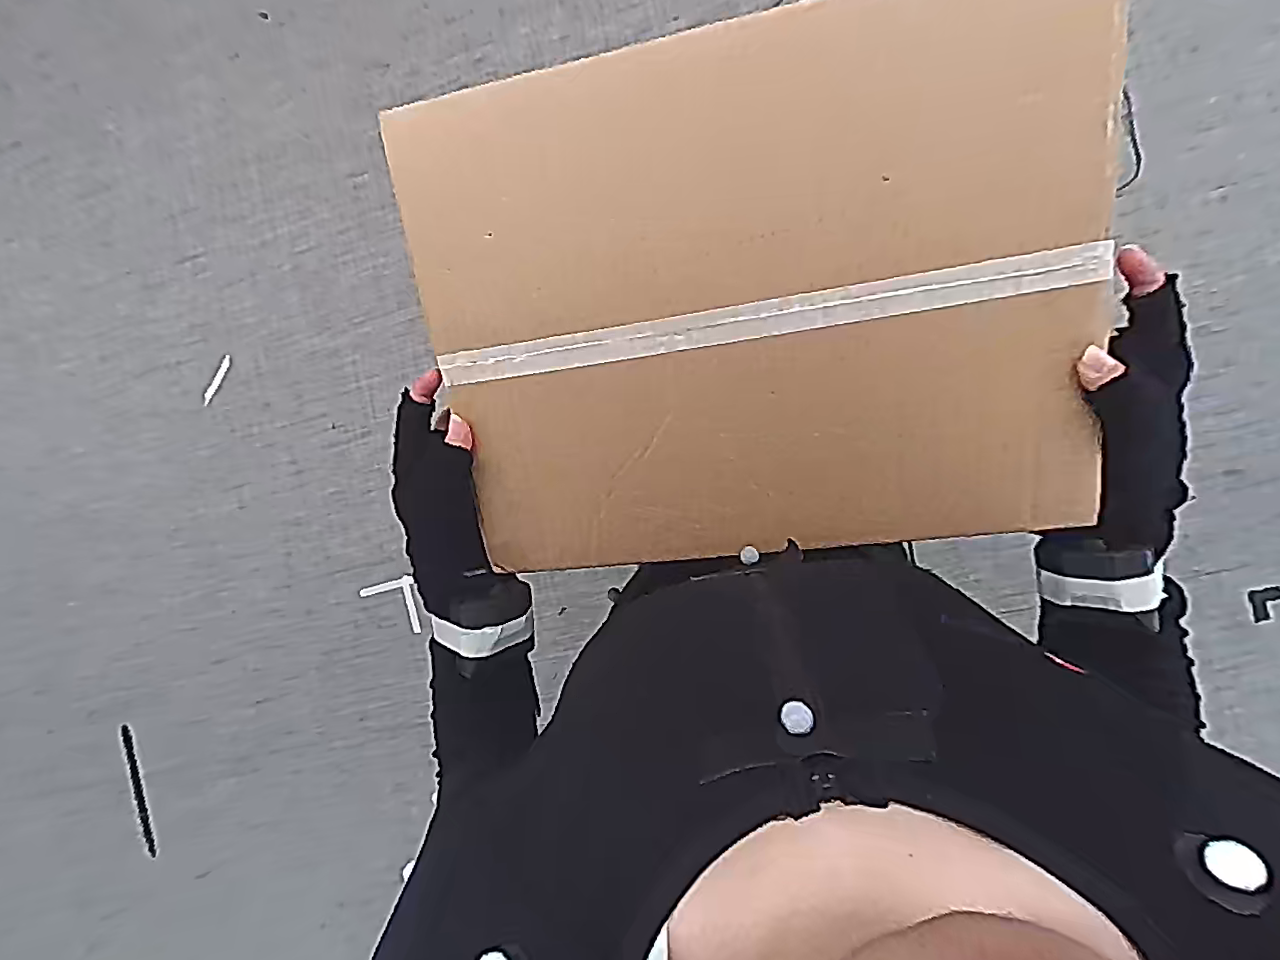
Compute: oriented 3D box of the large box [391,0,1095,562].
[{"bbox_3d":[0.081,-0.148,0.484,0.408,0.320,0.320,-6,105,11],"label":"large box"}]
